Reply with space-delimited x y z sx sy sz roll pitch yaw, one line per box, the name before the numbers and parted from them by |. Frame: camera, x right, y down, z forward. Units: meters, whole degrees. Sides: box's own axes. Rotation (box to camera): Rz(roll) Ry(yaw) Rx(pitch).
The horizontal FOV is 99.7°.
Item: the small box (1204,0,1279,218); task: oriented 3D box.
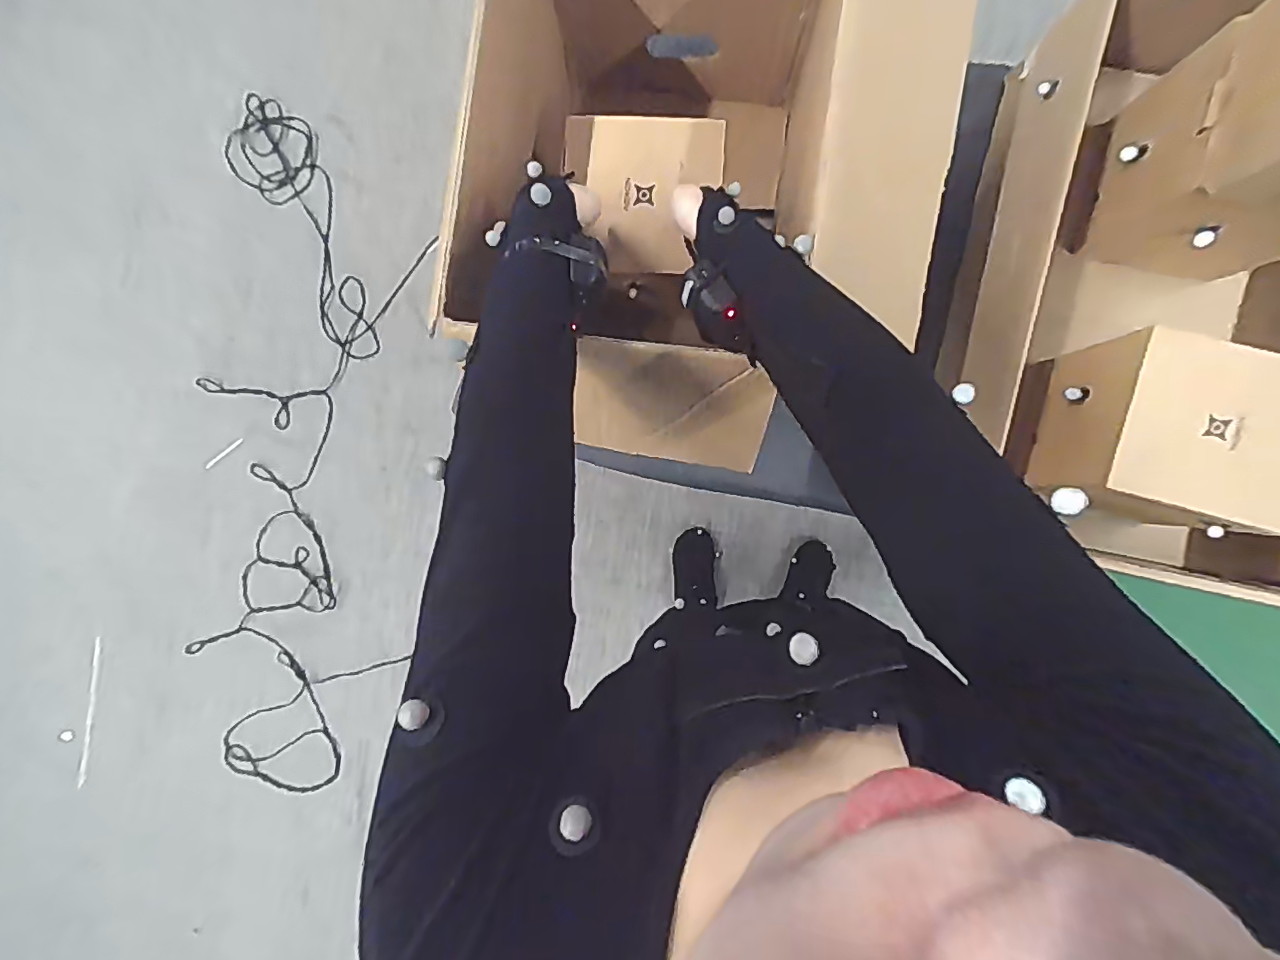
small box | 0.616 -0.327 0.424 0.168 0.176 0.179 12 94 4
